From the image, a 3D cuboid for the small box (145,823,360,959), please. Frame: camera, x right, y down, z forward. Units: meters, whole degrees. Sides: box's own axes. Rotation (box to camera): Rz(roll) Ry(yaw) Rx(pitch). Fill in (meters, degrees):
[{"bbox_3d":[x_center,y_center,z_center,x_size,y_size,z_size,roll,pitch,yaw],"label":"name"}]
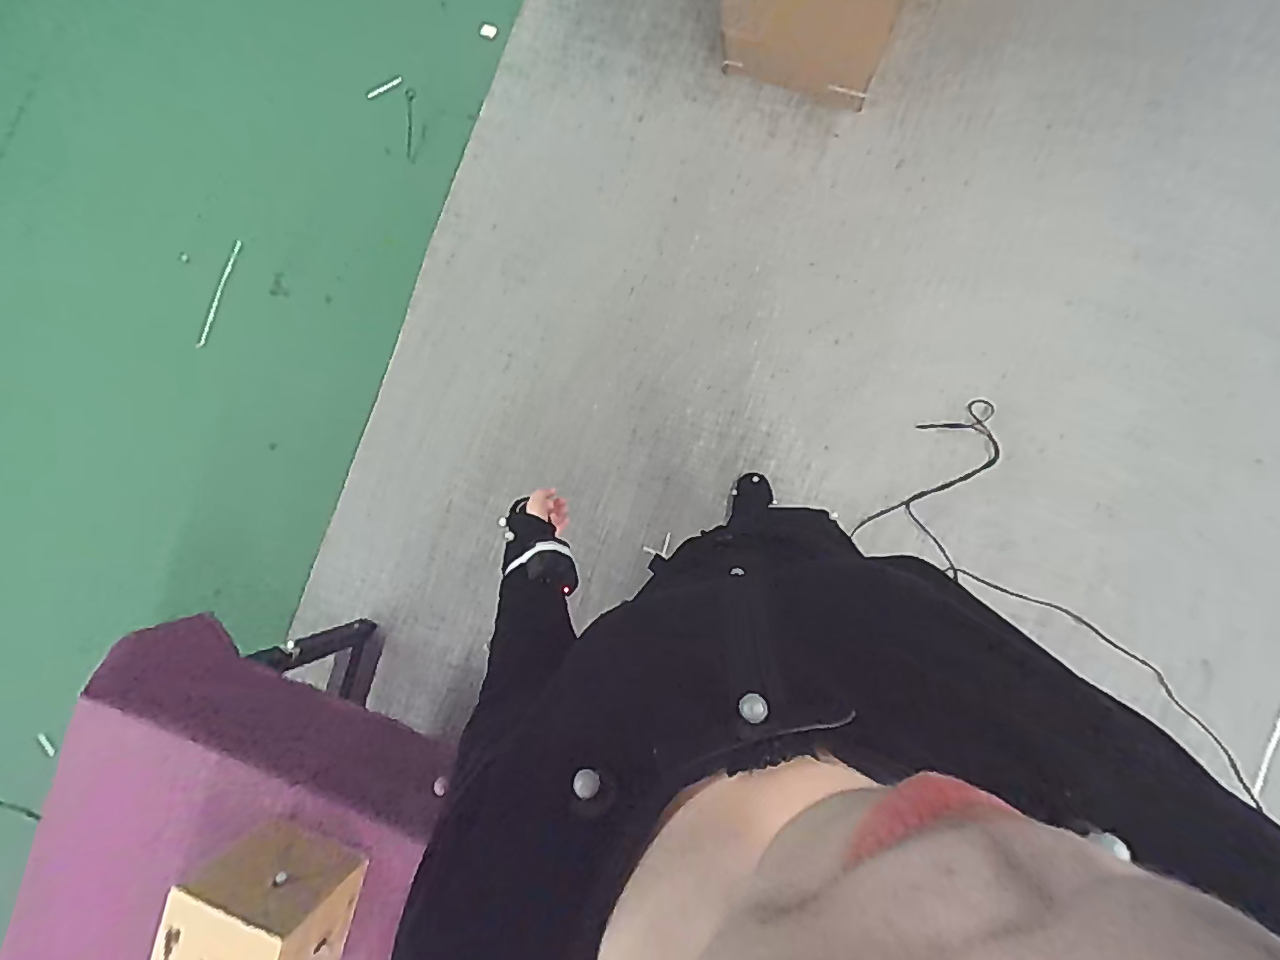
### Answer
[{"bbox_3d":[-0.533,0.624,0.754,0.179,0.176,0.168,16,89,8],"label":"small box"}]
